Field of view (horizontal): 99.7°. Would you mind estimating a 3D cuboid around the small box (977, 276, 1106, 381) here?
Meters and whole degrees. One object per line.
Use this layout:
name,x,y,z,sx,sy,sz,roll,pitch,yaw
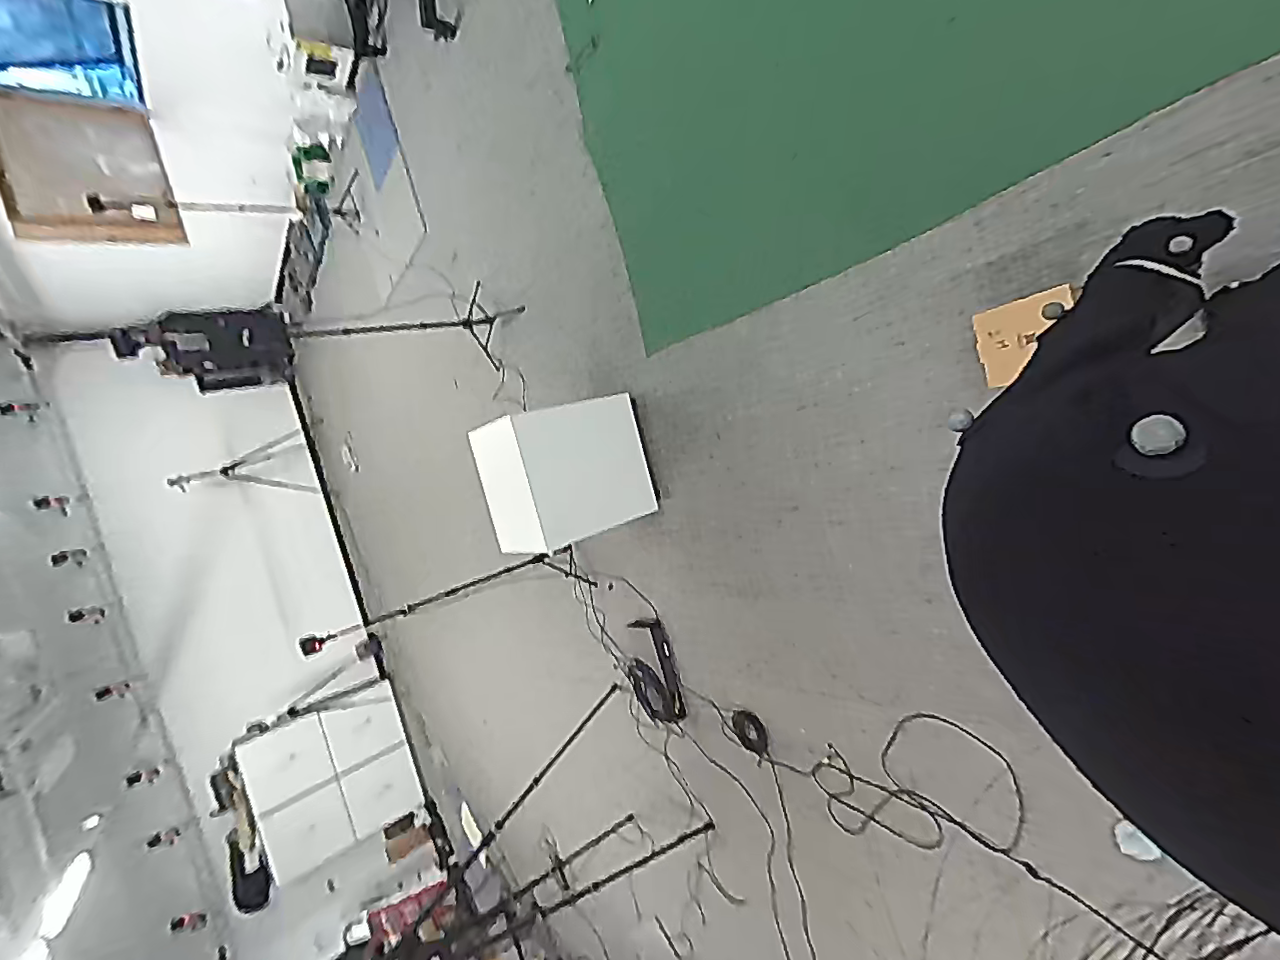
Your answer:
small box,0.855,-0.320,1.146,0.179,0.176,0.168,-13,93,51
